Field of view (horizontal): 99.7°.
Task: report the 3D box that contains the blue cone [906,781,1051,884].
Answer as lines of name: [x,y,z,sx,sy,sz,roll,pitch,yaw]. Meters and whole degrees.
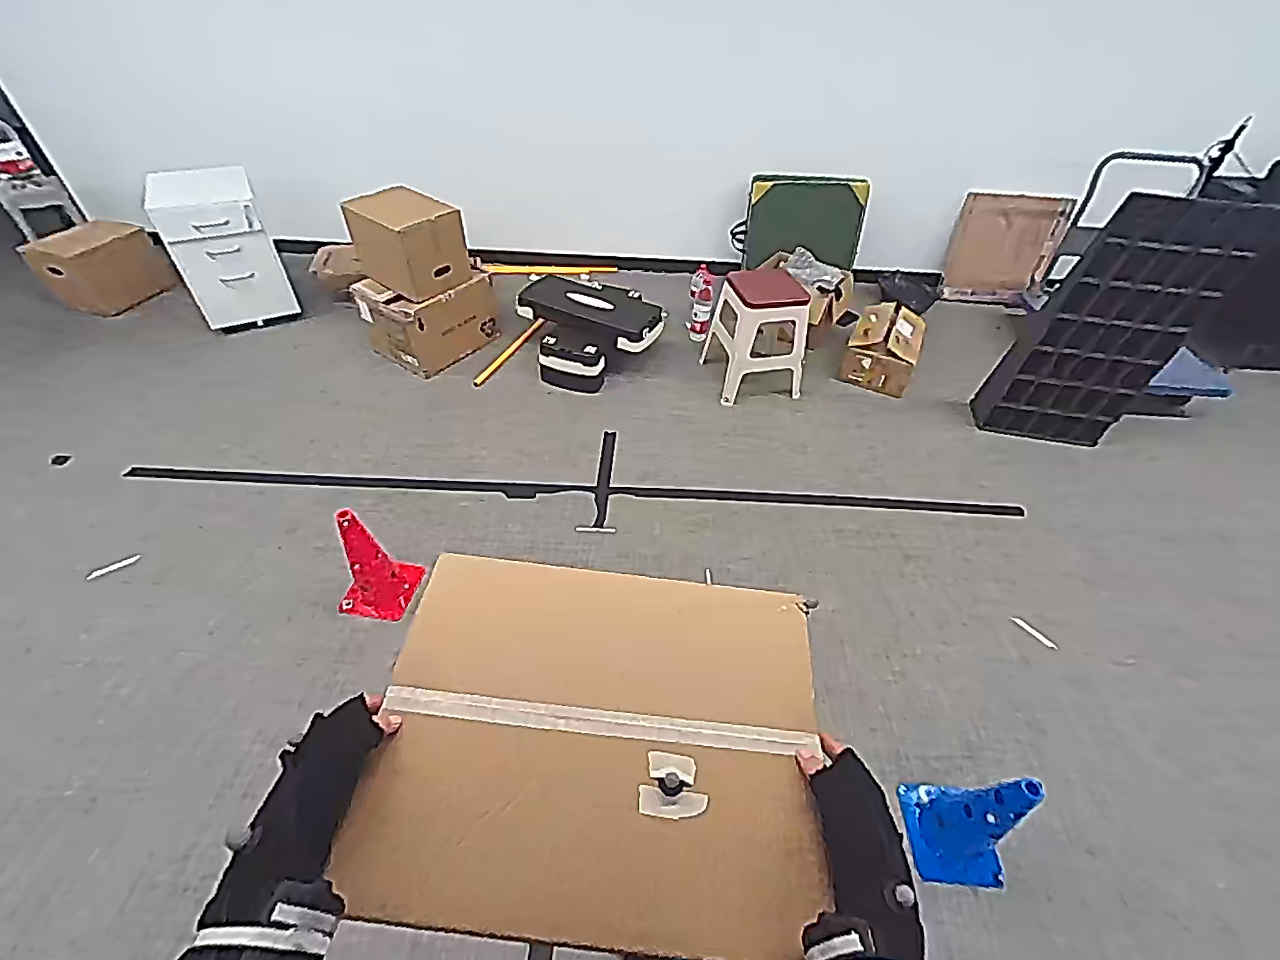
blue cone: [0.751,0.728,1.172,0.192,0.380,0.193,7,45,2]

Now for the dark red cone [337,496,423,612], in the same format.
dark red cone: [-0.786,0.195,1.551,0.201,0.394,0.202,8,46,3]

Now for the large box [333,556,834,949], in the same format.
large box: [-0.044,0.318,0.627,0.408,0.320,0.320,7,51,0]
